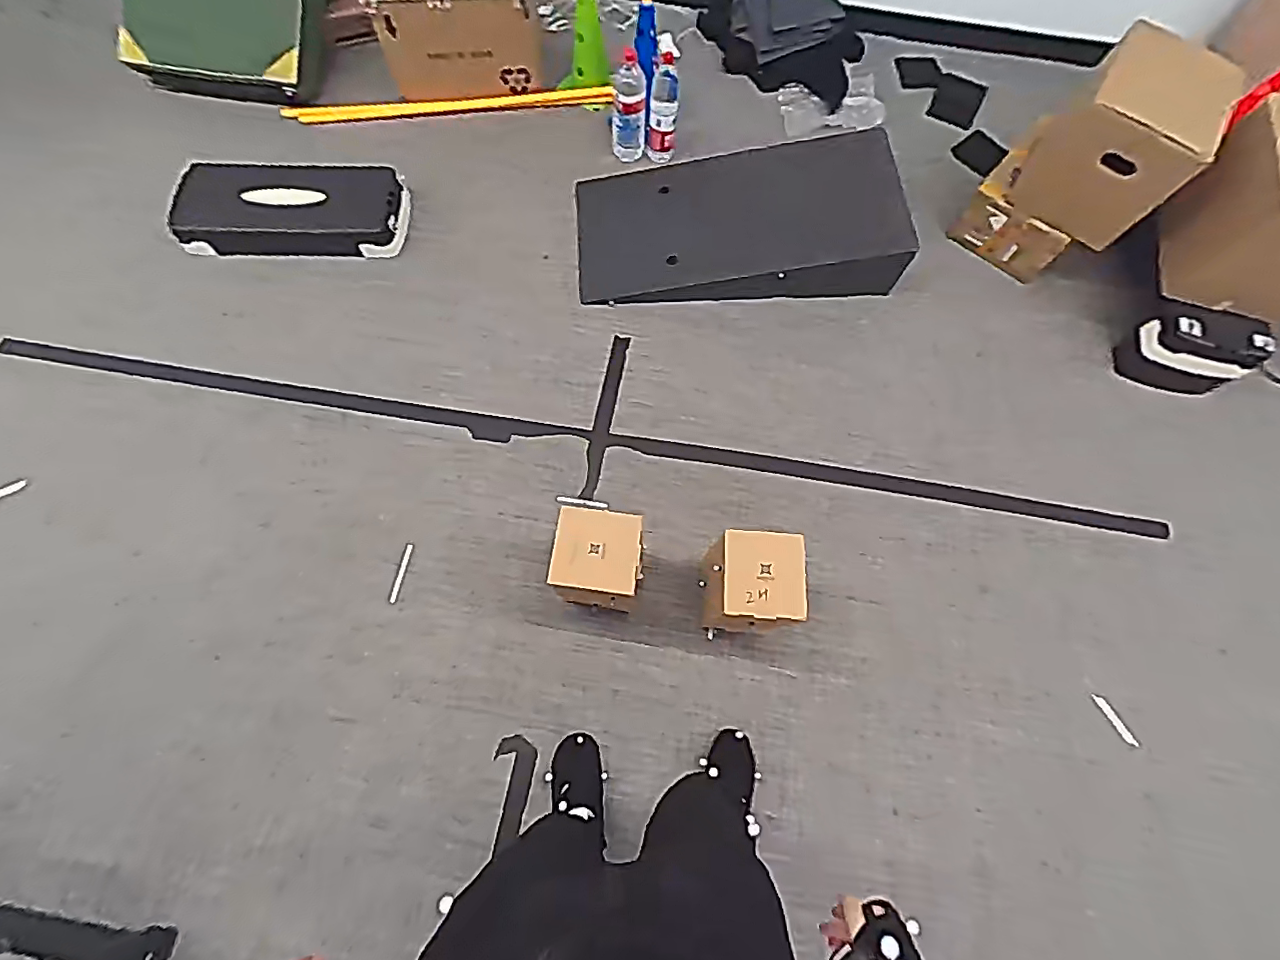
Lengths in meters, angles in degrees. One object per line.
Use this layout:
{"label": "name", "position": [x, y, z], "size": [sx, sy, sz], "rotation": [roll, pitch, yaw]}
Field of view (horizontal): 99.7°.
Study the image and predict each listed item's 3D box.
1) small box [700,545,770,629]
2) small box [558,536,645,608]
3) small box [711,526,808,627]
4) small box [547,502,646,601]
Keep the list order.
{"label": "small box", "position": [0.240, 0.263, 1.303], "size": [0.168, 0.176, 0.179], "rotation": [4, 70, -1]}
{"label": "small box", "position": [-0.091, 0.210, 1.307], "size": [0.179, 0.176, 0.168], "rotation": [11, 71, 0]}
{"label": "small box", "position": [0.247, 0.209, 1.147], "size": [0.168, 0.176, 0.179], "rotation": [5, 71, 0]}
{"label": "small box", "position": [-0.087, 0.159, 1.151], "size": [0.179, 0.176, 0.168], "rotation": [8, 71, 1]}
